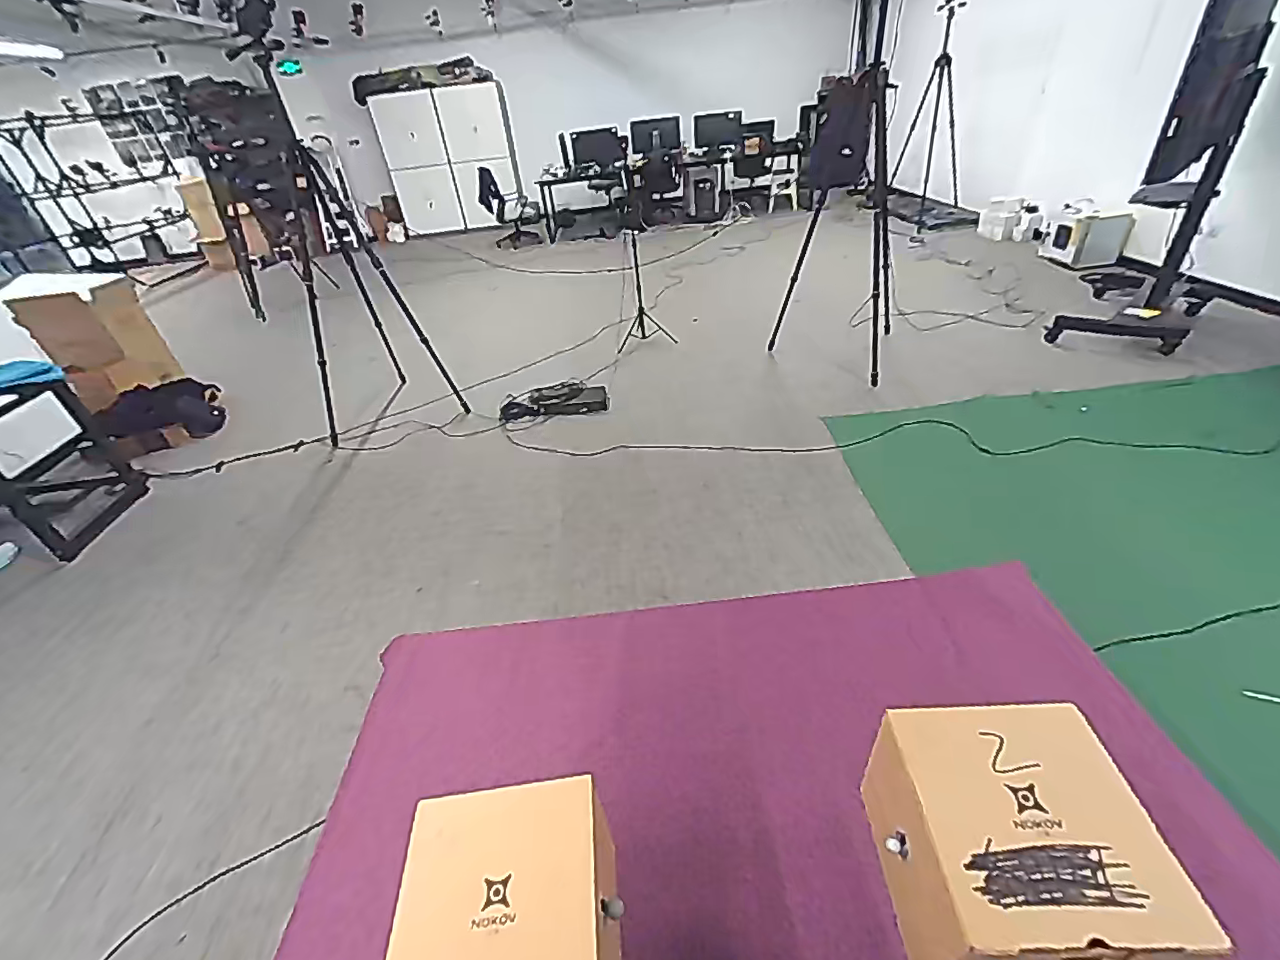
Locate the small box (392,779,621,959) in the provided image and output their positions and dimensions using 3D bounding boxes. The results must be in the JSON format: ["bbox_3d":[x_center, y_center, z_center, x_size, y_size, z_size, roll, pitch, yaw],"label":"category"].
[{"bbox_3d":[-0.110,0.414,0.501,0.168,0.176,0.179,-9,39,-1],"label":"small box"}]
